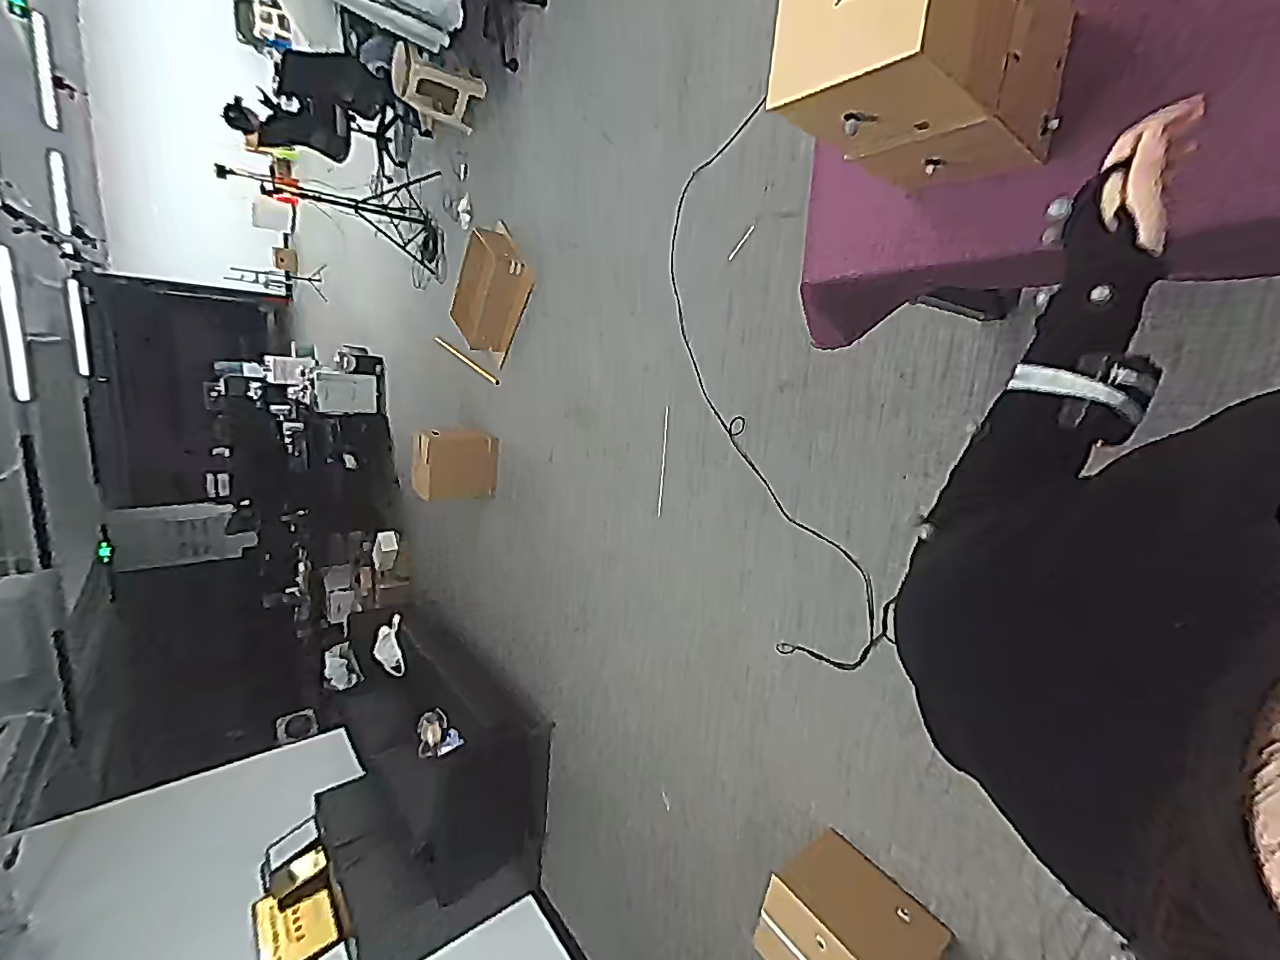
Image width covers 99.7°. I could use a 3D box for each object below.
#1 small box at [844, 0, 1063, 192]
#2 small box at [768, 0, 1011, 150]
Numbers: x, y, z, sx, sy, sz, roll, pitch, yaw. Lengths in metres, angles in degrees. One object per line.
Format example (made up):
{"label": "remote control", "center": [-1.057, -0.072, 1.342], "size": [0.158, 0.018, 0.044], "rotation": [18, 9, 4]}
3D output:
{"label": "small box", "center": [0.382, -0.476, 0.662], "size": [0.179, 0.176, 0.168], "rotation": [17, 106, 49]}
{"label": "small box", "center": [0.259, -0.468, 0.557], "size": [0.168, 0.176, 0.179], "rotation": [18, 106, 48]}
